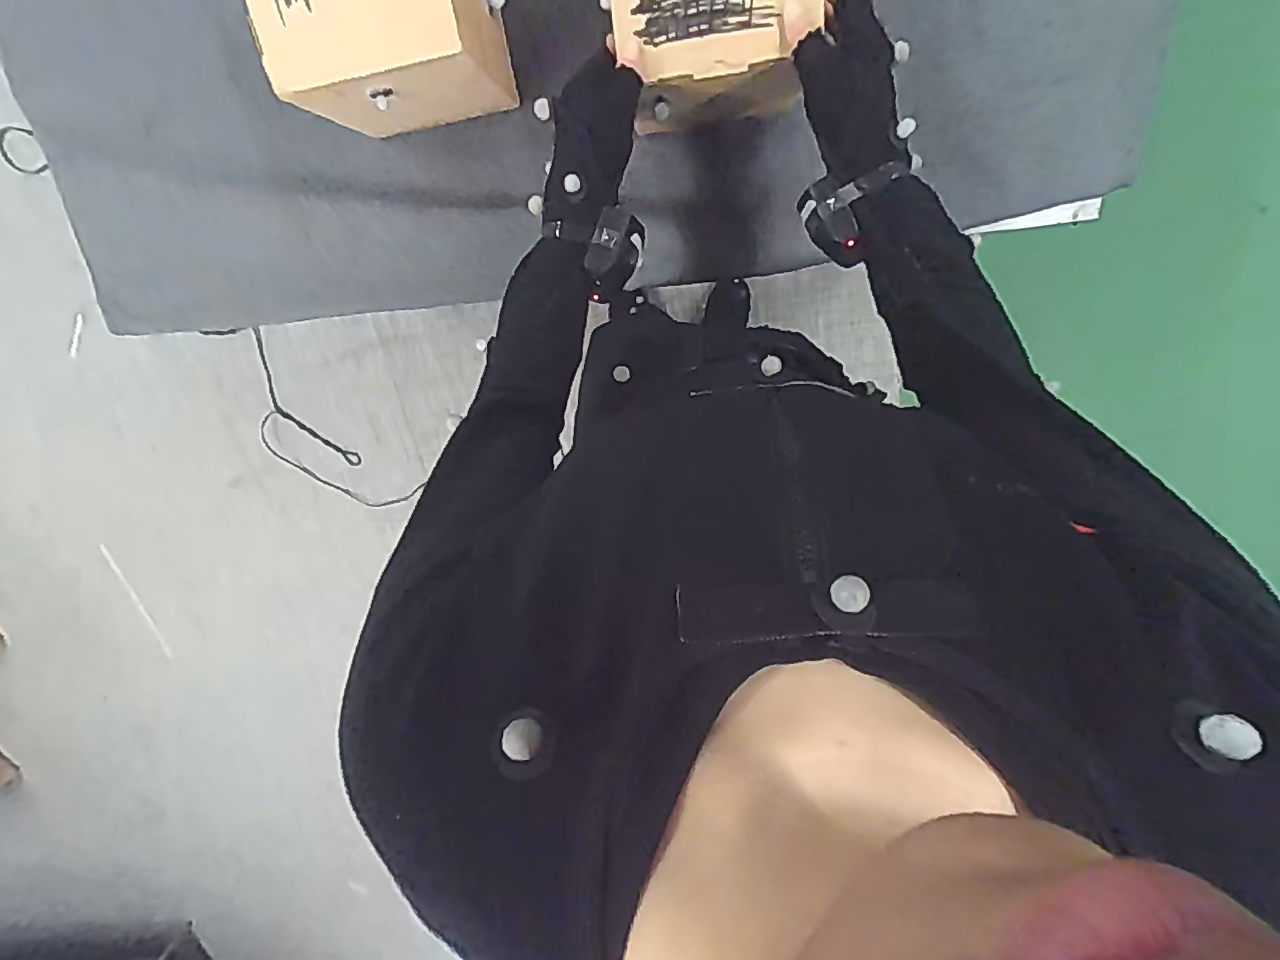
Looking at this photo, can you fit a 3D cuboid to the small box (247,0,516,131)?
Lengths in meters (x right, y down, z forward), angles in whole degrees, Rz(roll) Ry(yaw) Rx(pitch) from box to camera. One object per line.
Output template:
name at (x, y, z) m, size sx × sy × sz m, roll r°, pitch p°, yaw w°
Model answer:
small box at (-0.237, -0.450, 0.505) m, size 0.179 × 0.176 × 0.168 m, roll -7°, pitch 111°, yaw 7°
